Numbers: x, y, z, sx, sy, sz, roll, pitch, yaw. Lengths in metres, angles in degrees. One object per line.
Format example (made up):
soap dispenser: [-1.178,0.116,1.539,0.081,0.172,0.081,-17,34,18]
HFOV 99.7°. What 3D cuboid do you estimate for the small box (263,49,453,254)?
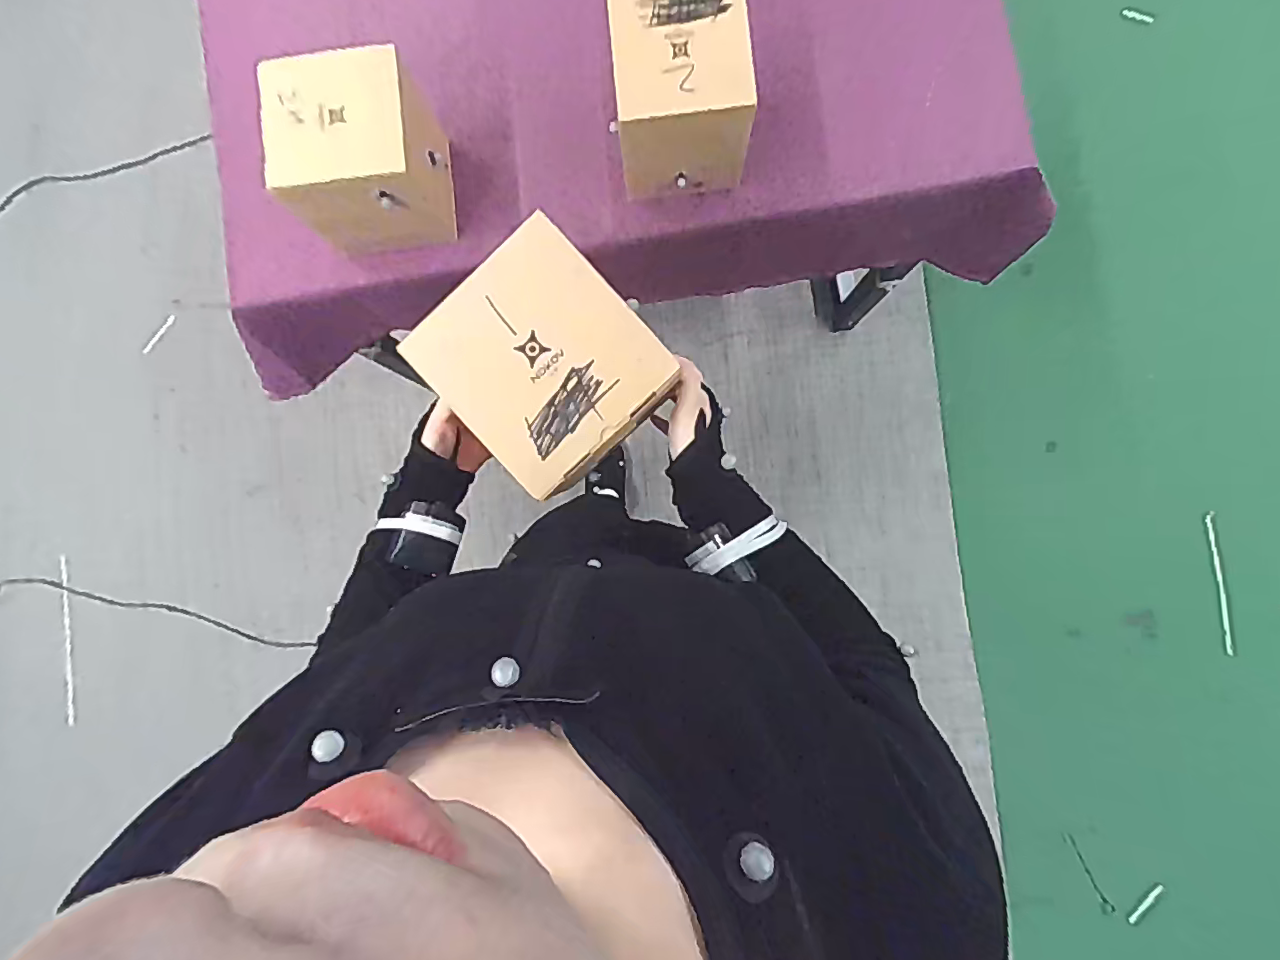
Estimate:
small box: [-0.368,-0.433,0.737,0.179,0.176,0.168,-6,85,2]
